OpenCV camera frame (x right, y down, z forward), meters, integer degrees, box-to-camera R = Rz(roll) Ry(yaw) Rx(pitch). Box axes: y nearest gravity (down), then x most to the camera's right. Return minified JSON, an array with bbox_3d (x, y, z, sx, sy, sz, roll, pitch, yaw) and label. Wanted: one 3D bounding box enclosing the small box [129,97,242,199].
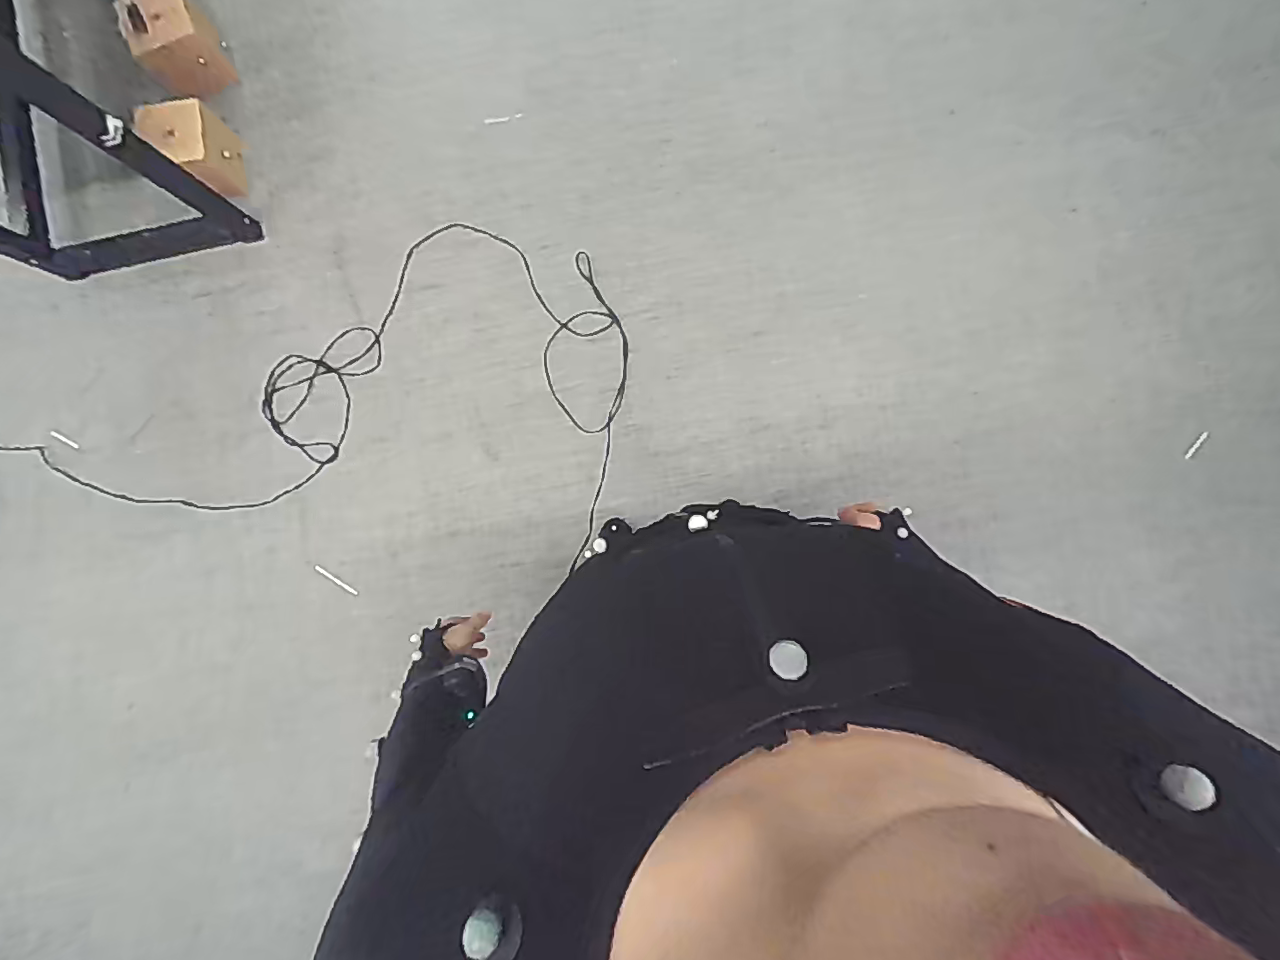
[{"bbox_3d":[-1.223,-0.895,1.472,0.179,0.176,0.168,-7,88,1],"label":"small box"}]
